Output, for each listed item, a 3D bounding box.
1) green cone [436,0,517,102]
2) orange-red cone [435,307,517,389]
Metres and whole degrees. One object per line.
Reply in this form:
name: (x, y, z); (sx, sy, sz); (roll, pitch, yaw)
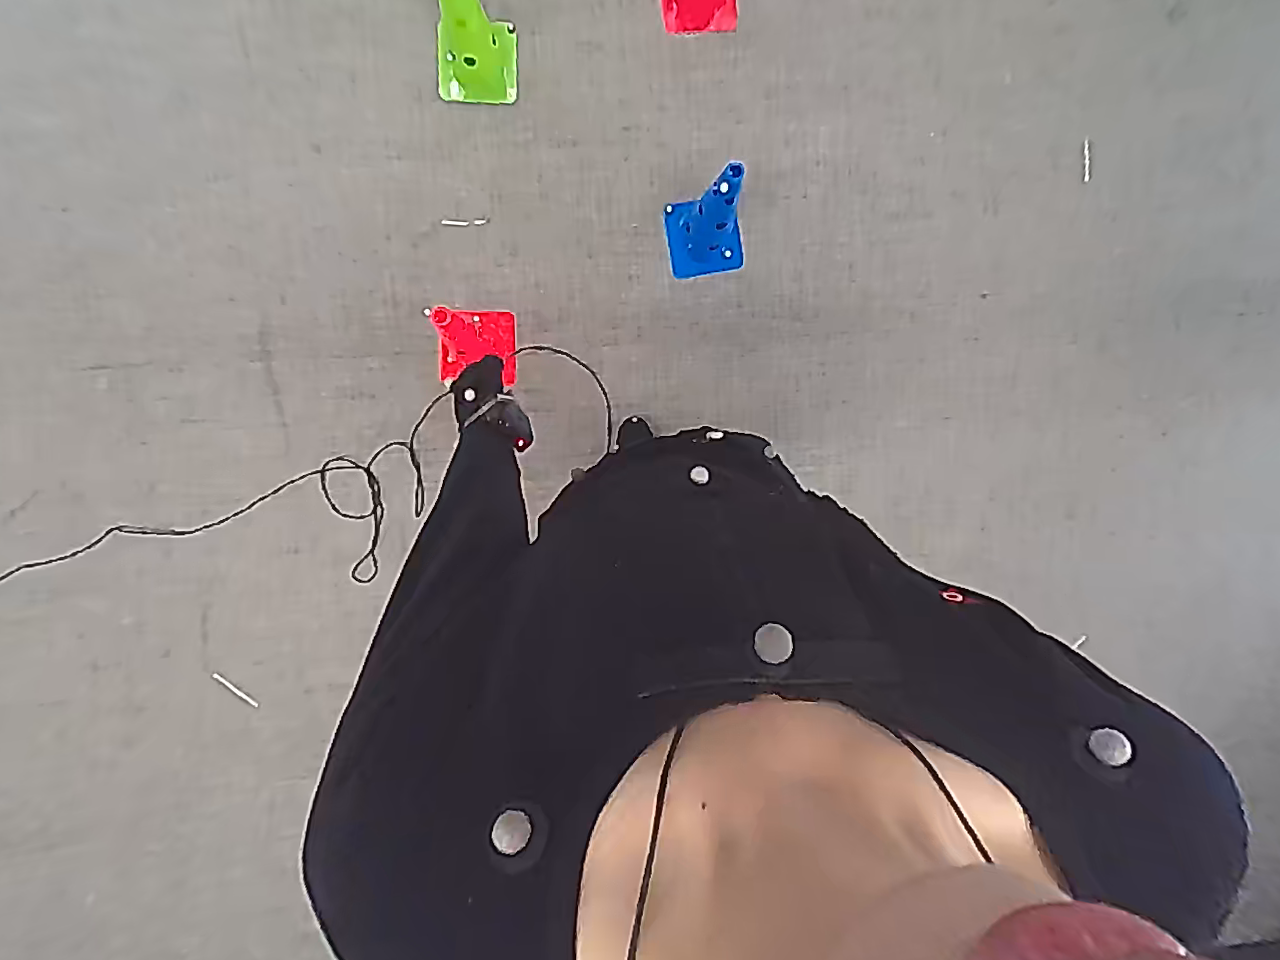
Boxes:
green cone: (-0.411, -1.071, 1.224); (0.200, 0.368, 0.202); (-1, 94, -3)
orange-red cone: (-0.413, -0.340, 1.266); (0.198, 0.360, 0.199); (1, 91, -5)
